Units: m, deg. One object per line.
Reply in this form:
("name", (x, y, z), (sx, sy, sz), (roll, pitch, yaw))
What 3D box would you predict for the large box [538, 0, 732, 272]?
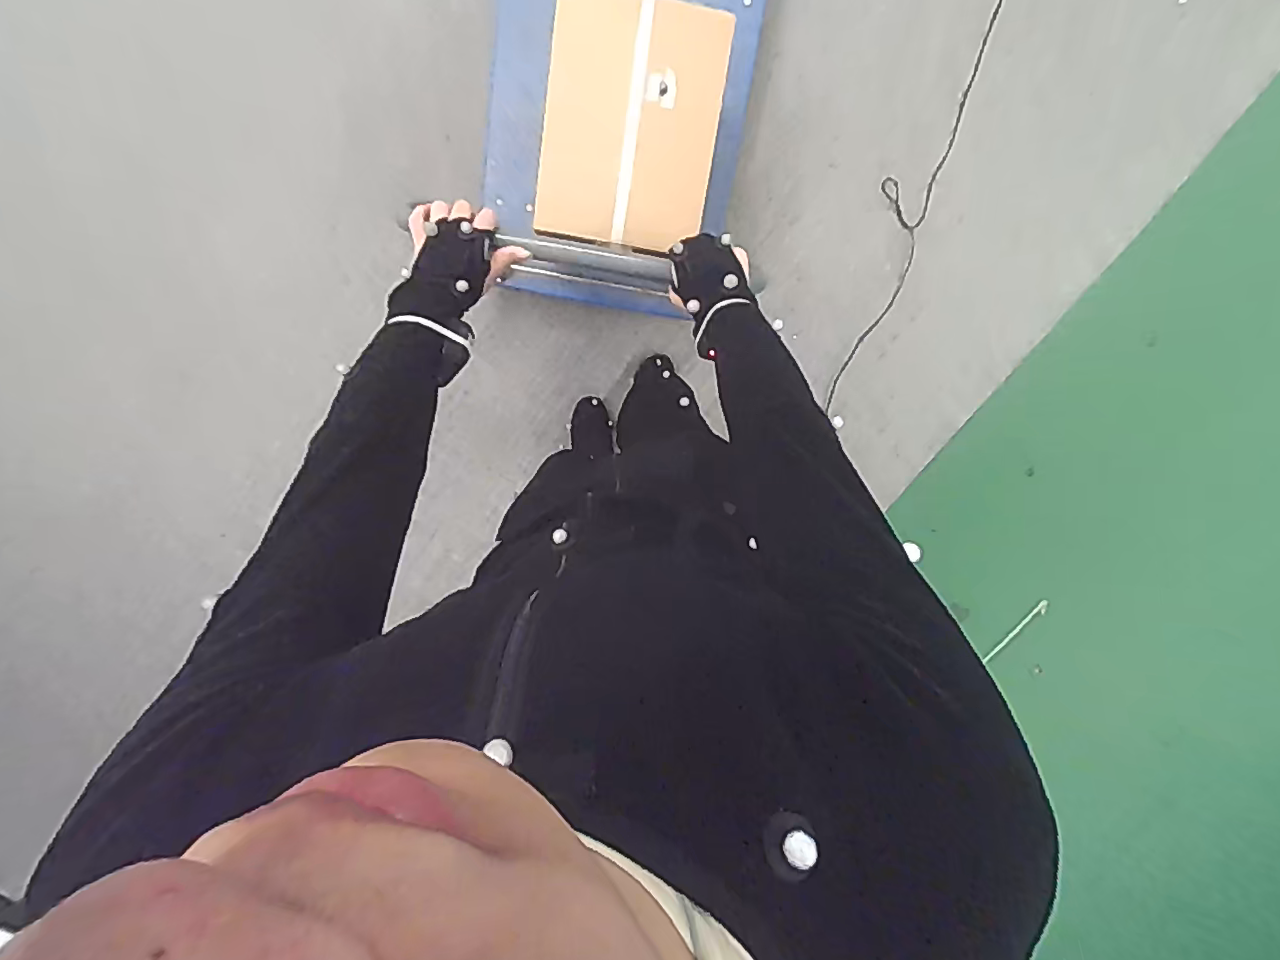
("large box", (-0.020, -0.687, 1.139), (0.320, 0.320, 0.408), (9, 103, -5))
